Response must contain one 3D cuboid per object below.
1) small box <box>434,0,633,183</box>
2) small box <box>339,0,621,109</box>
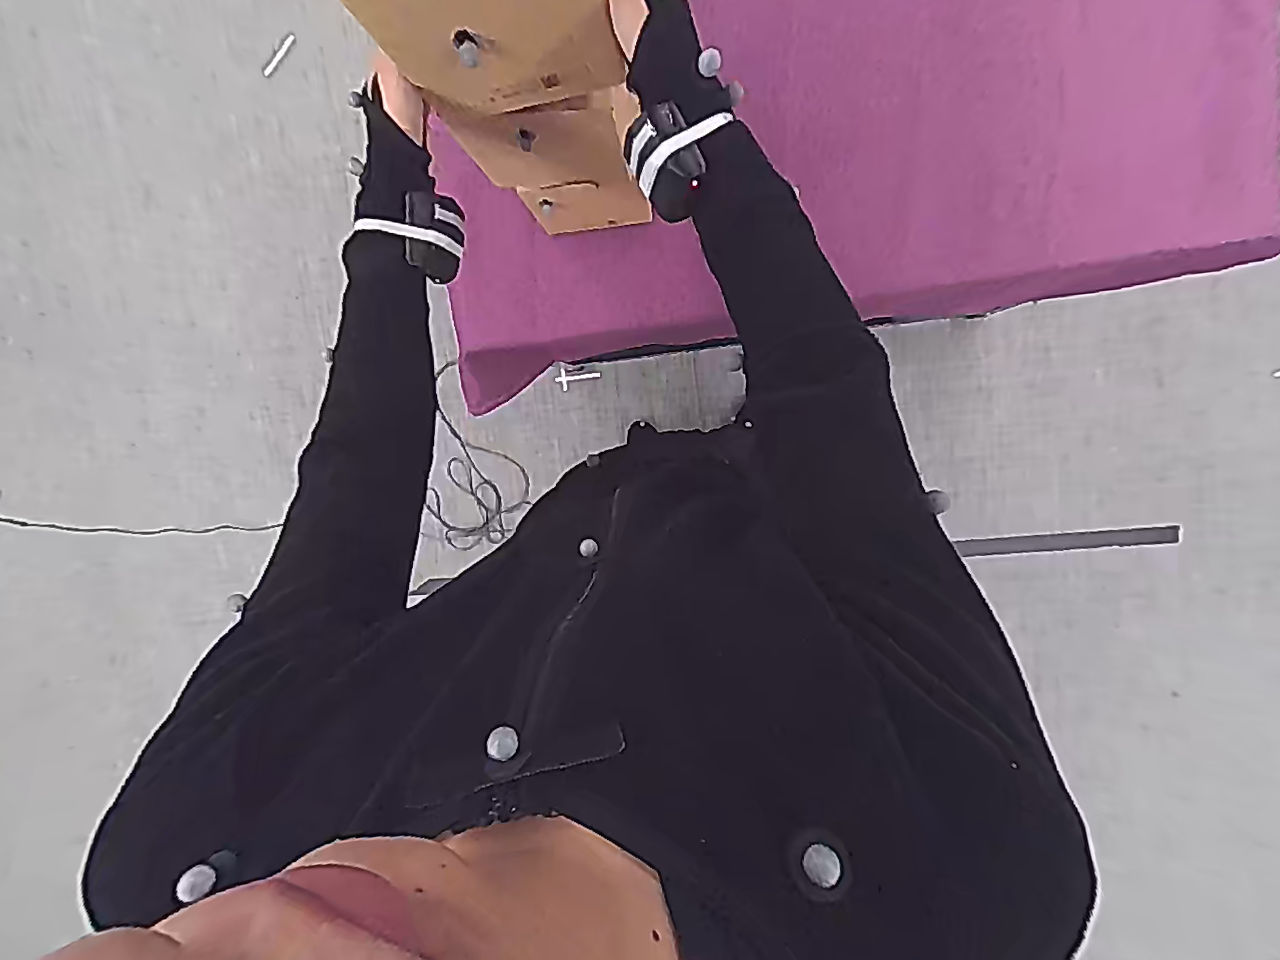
[{"bbox_3d":[-0.105,-0.443,0.589,0.179,0.176,0.168,2,97,4],"label":"small box"},{"bbox_3d":[-0.114,-0.404,0.388,0.168,0.176,0.179,-8,95,7],"label":"small box"}]
